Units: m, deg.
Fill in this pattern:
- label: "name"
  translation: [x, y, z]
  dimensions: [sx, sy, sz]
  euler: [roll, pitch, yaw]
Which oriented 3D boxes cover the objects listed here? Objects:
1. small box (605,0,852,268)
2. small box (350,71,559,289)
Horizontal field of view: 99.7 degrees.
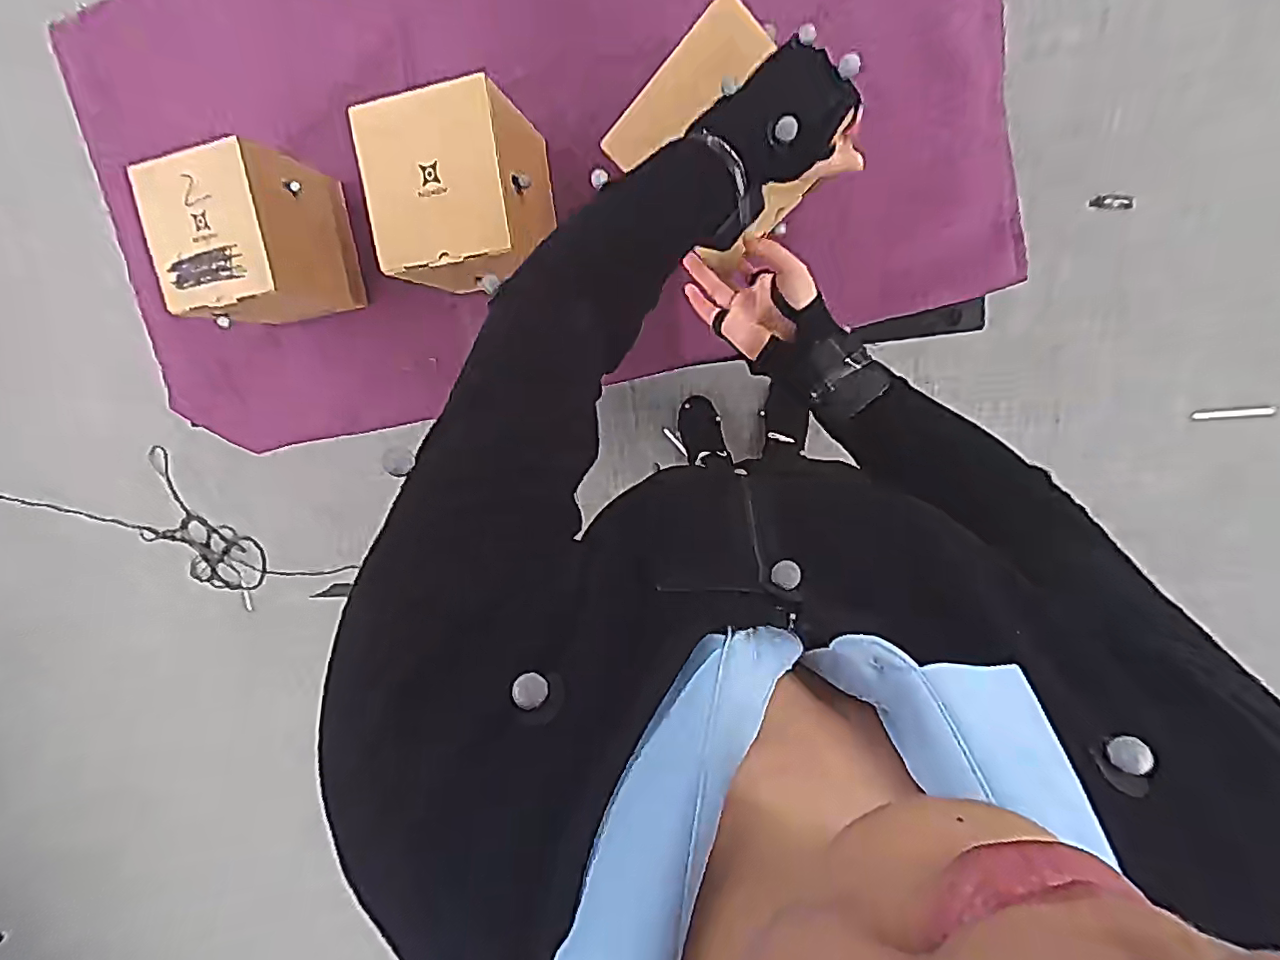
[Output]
- label: "small box"
  translation: [0.092, -0.348, 0.580]
  dimensions: [0.168, 0.176, 0.179]
  euler: [-37, 101, 21]
- label: "small box"
  translation: [-0.211, -0.346, 0.662]
  dimensions: [0.168, 0.176, 0.179]
  euler: [-5, 101, 12]
